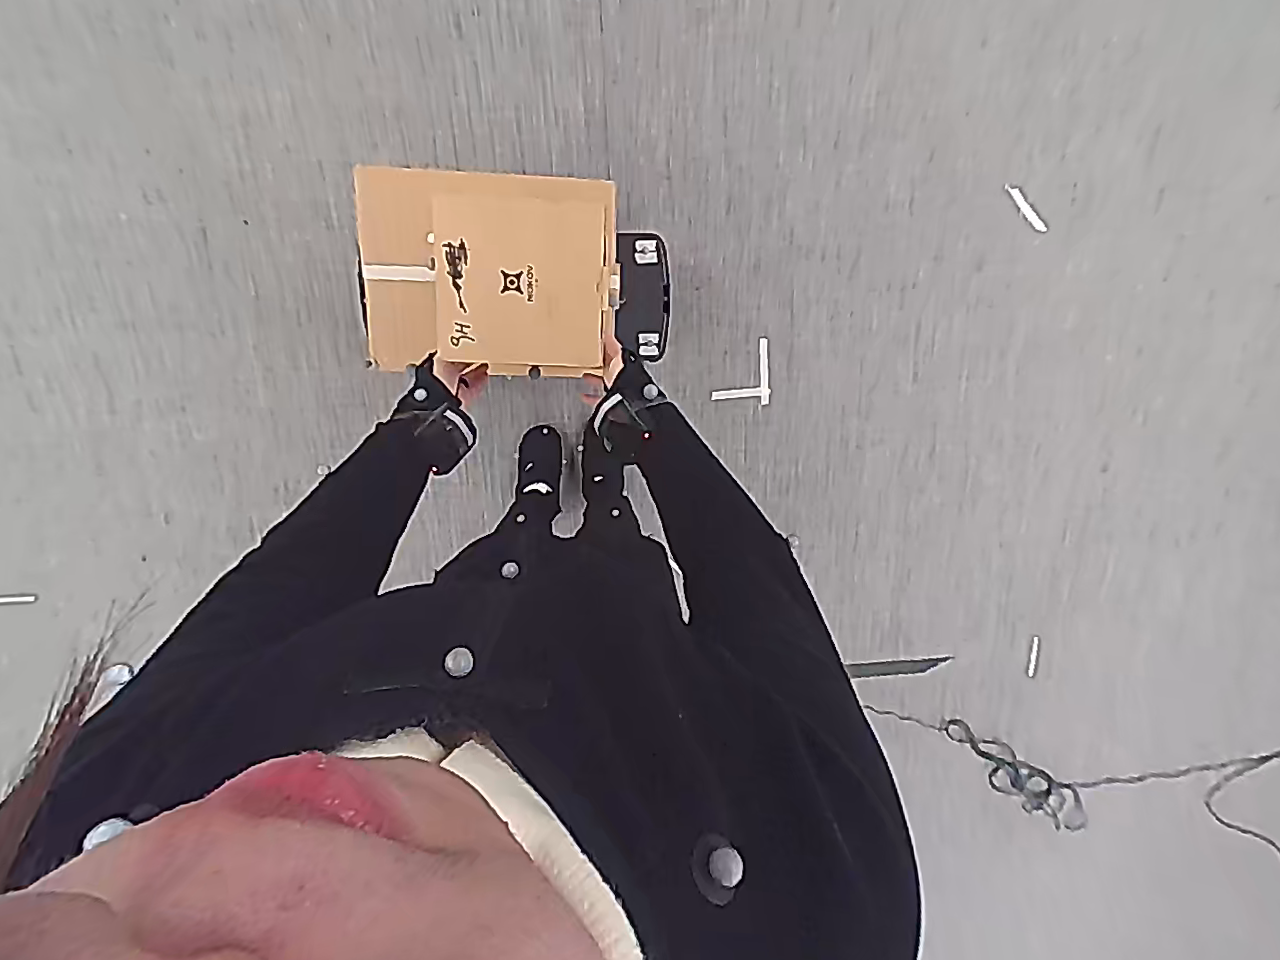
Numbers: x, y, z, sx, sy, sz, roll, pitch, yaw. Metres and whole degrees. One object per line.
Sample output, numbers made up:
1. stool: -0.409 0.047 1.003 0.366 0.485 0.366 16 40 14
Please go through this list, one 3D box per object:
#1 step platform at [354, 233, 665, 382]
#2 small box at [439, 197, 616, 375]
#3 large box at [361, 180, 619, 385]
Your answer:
1. step platform: -0.283 -0.390 1.254 0.684 0.204 0.286 3 103 -5
2. small box: -0.122 -0.211 0.629 0.179 0.176 0.168 2 101 -5
3. large box: -0.243 -0.348 1.021 0.408 0.320 0.320 0 102 -4
